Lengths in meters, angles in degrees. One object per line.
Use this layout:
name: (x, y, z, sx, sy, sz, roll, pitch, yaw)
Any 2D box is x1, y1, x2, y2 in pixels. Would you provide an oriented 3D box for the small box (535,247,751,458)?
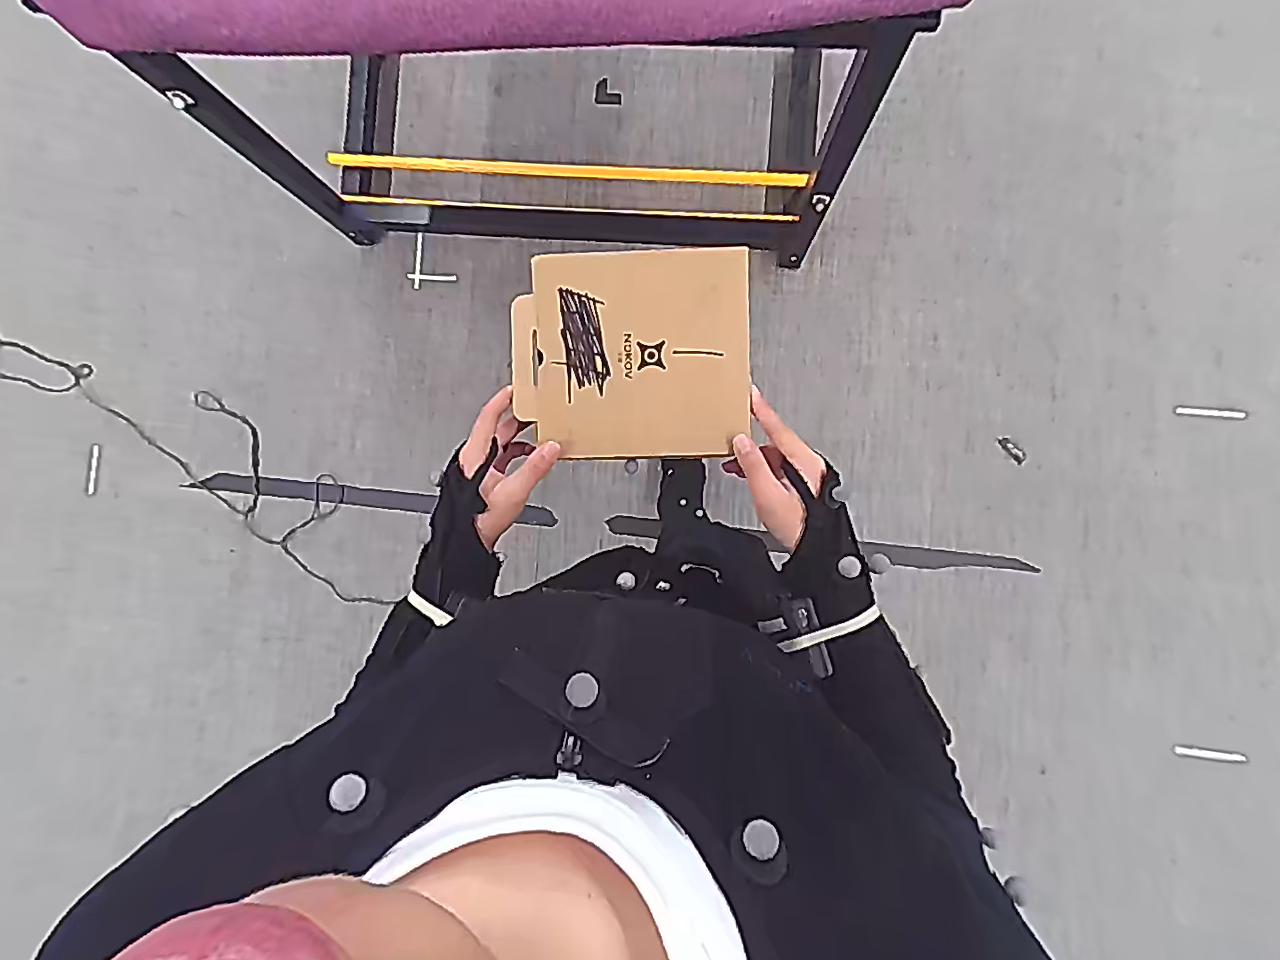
small box: (0.006, -0.105, 0.516, 0.179, 0.176, 0.168, -1, 92, 2)
